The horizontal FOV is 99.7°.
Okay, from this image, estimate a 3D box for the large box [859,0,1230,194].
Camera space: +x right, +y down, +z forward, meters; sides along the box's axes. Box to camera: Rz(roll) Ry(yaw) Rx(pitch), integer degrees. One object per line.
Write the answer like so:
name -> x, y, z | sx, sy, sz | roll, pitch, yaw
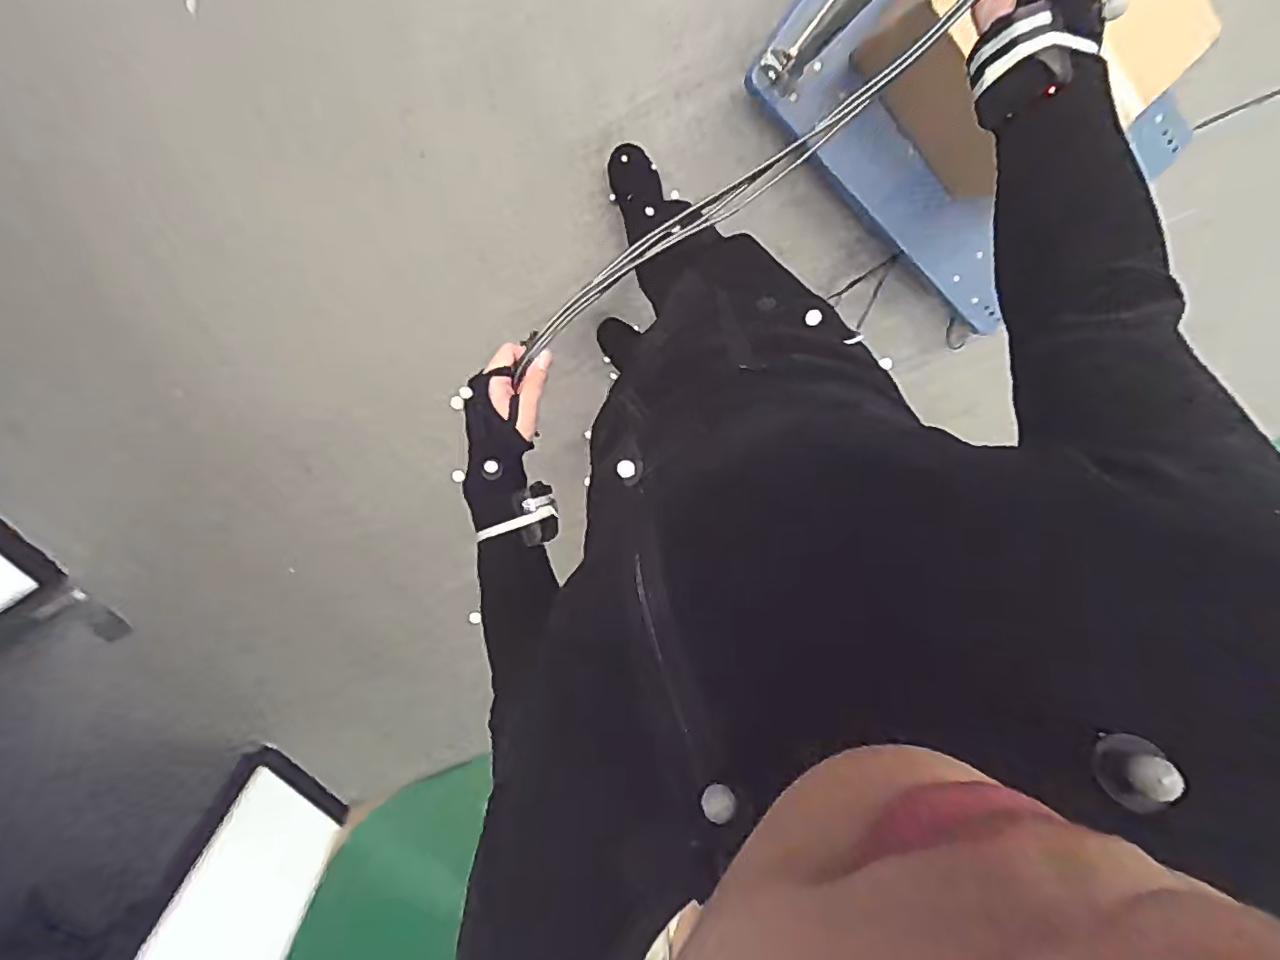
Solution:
large box -> 0.695, -0.798, 0.985 | 0.408, 0.320, 0.320 | 37, 109, -19
